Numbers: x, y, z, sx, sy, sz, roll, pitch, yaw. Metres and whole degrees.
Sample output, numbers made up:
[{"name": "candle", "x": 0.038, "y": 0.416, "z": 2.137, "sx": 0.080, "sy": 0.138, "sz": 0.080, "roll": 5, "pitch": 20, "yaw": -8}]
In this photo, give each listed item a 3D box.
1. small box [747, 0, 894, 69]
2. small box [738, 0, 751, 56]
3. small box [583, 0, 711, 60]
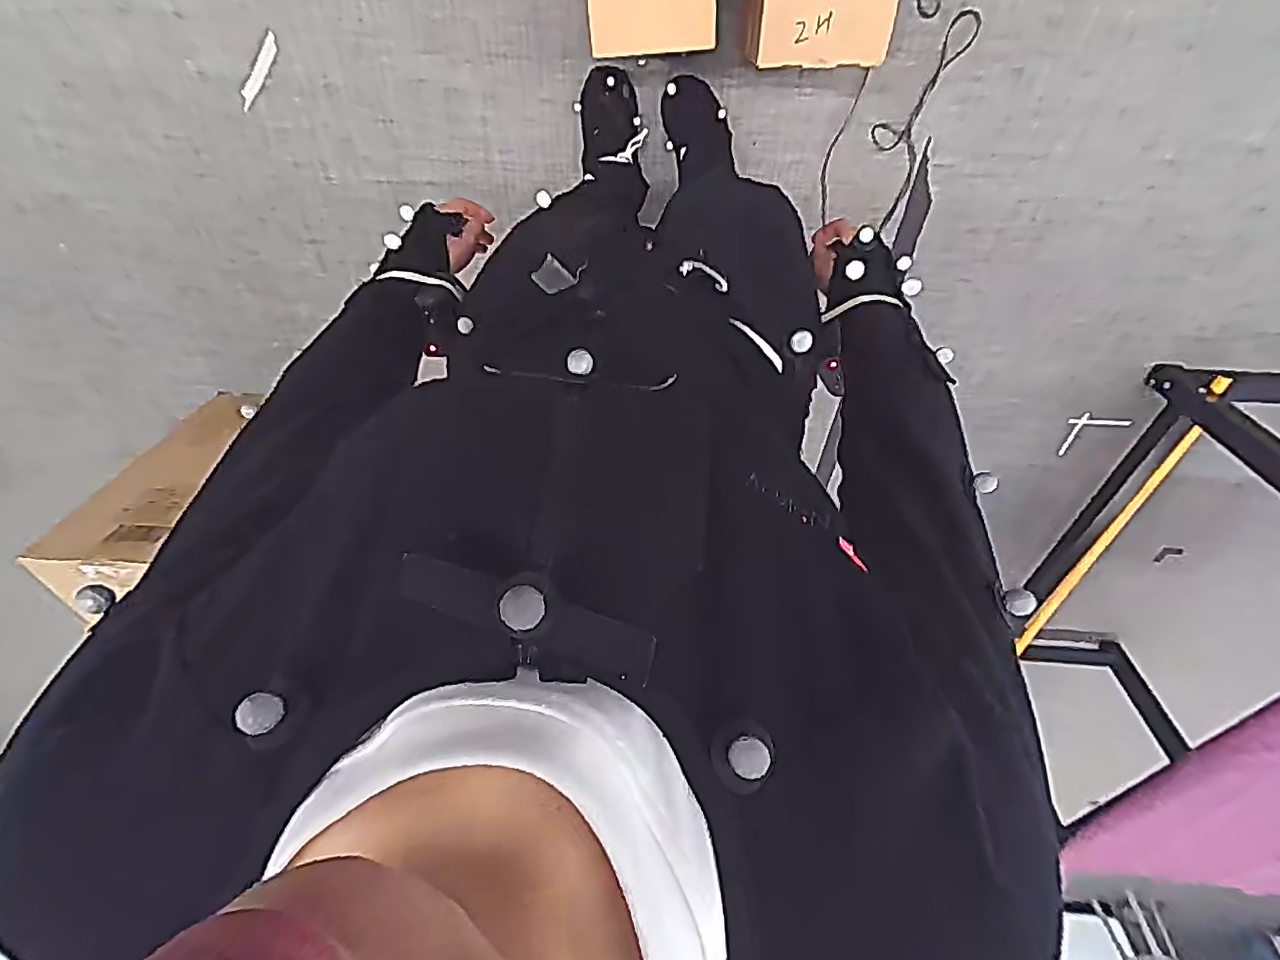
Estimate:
[{"name": "small box", "x": 0.237, "y": -0.661, "z": 0.716, "sx": 0.168, "sy": 0.176, "sz": 0.179, "roll": 3, "pitch": 132, "yaw": 4}, {"name": "small box", "x": 0.248, "y": -0.771, "z": 0.839, "sx": 0.168, "sy": 0.176, "sz": 0.179, "roll": 4, "pitch": 133, "yaw": 2}, {"name": "small box", "x": 0.014, "y": -0.683, "z": 0.723, "sx": 0.168, "sy": 0.176, "sz": 0.179, "roll": 0, "pitch": 130, "yaw": 6}]
